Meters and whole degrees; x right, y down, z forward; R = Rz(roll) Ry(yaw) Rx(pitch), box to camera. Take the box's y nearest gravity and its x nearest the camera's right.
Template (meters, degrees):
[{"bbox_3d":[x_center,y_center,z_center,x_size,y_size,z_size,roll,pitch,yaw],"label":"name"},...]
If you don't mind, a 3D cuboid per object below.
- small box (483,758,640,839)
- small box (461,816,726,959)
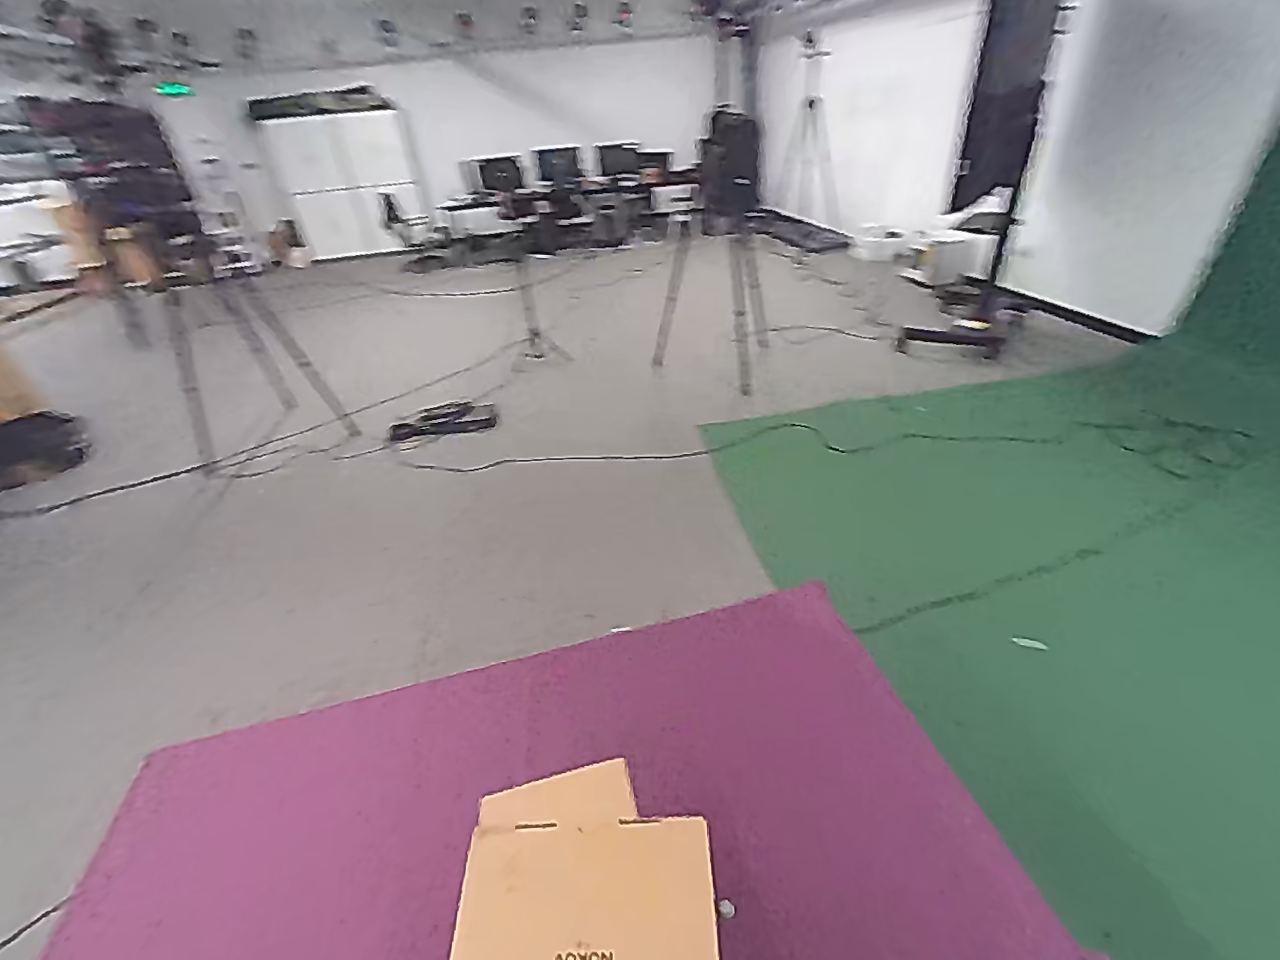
[{"bbox_3d":[-0.076,0.466,0.631,0.179,0.176,0.168,-12,34,-9],"label":"small box"},{"bbox_3d":[-0.023,0.356,0.377,0.168,0.176,0.179,-4,46,4],"label":"small box"}]
